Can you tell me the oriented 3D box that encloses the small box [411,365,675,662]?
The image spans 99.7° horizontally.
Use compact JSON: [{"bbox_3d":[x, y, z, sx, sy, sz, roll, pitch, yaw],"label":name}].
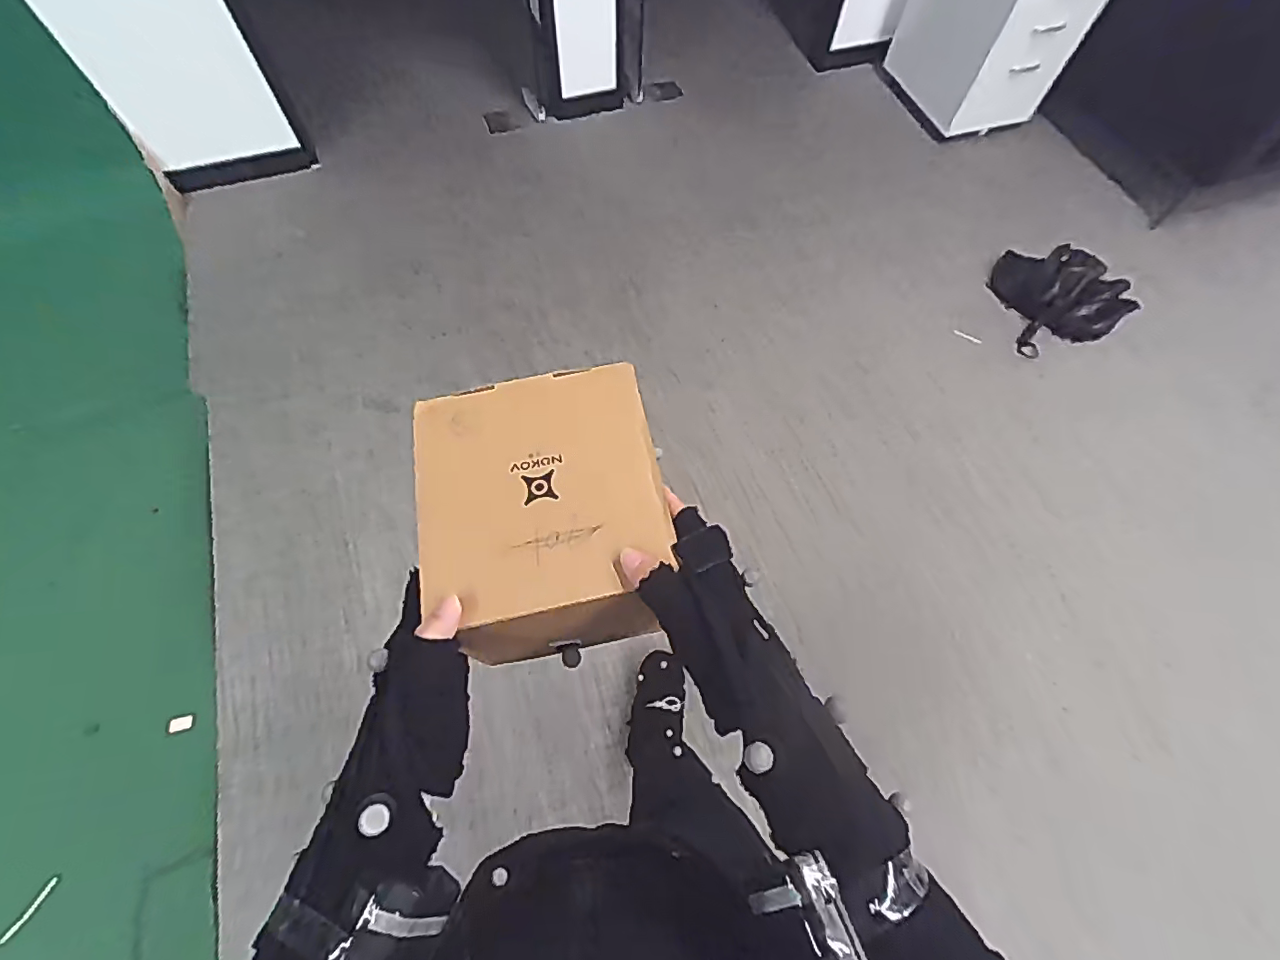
[{"bbox_3d":[-0.072,0.037,0.444,0.168,0.176,0.179,-12,66,-3],"label":"small box"}]
